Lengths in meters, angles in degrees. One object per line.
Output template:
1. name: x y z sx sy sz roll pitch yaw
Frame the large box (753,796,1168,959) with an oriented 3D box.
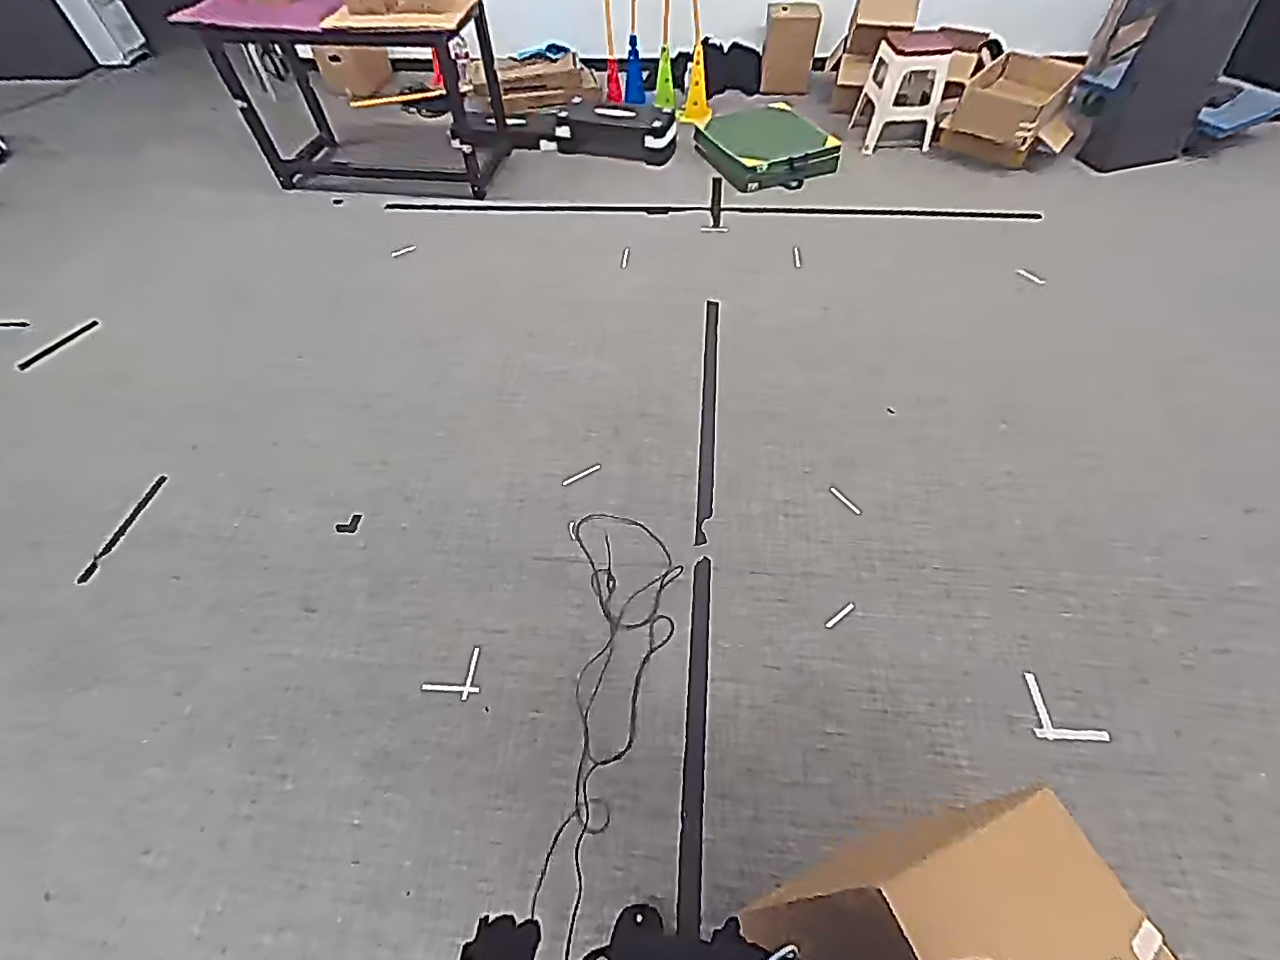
1. large box: 0.411 0.672 0.706 0.320 0.408 0.320 -7 51 -22
